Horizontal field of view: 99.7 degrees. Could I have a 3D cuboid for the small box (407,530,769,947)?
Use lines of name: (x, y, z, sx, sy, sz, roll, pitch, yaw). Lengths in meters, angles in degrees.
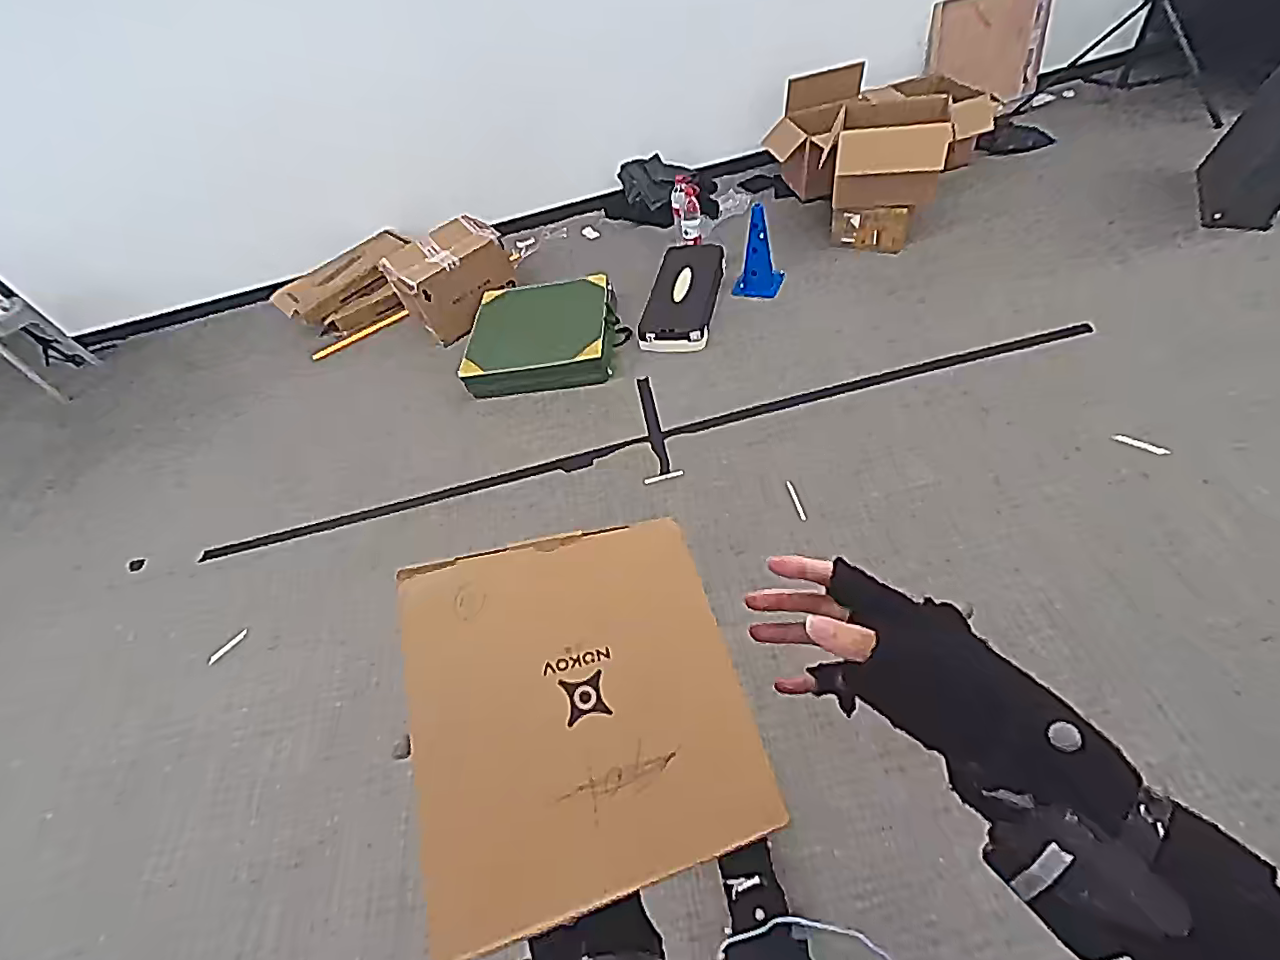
small box: (-0.050, 0.158, 0.355, 0.168, 0.176, 0.179, -9, 60, -19)
